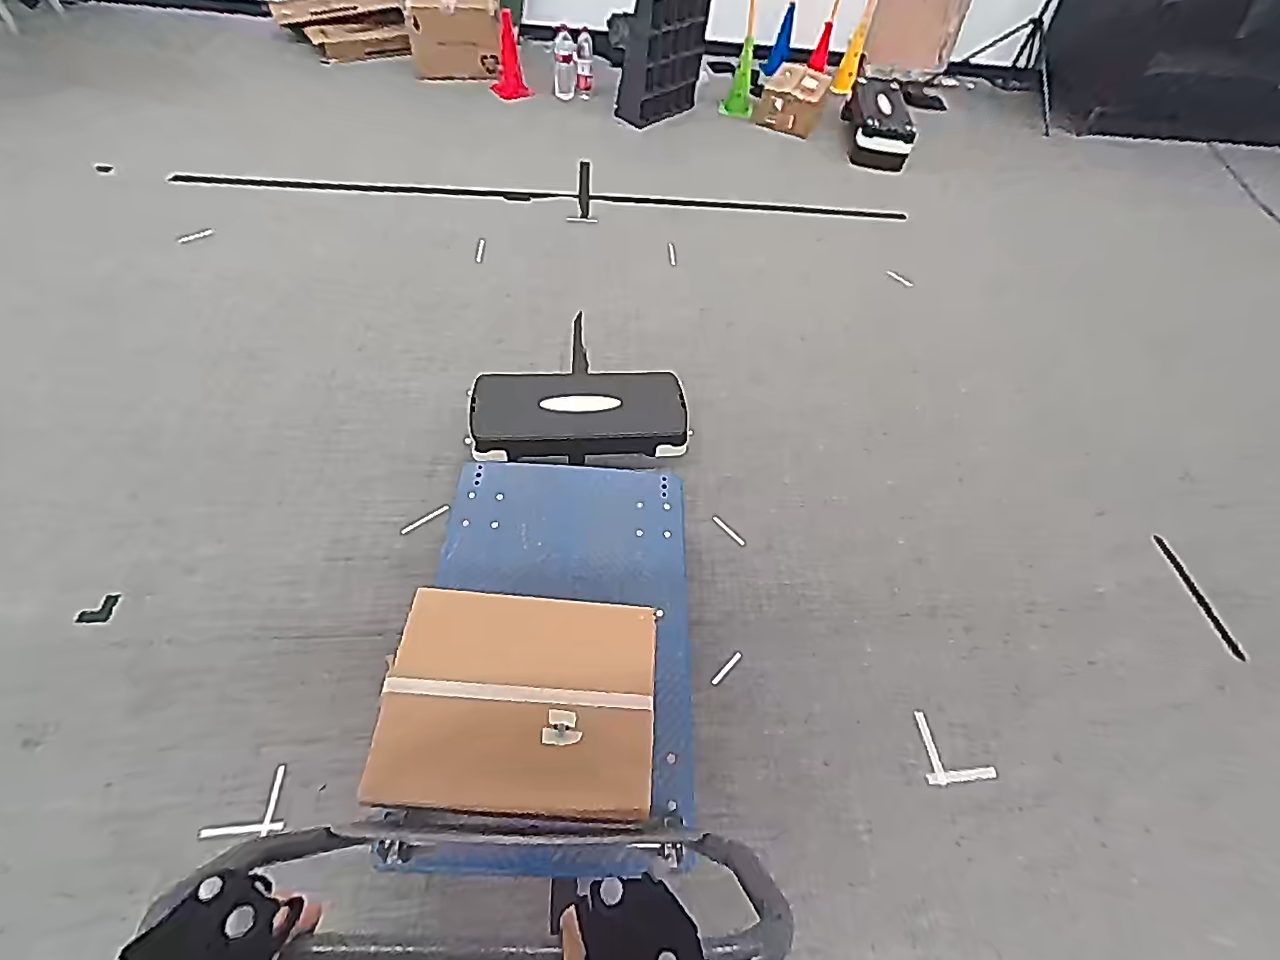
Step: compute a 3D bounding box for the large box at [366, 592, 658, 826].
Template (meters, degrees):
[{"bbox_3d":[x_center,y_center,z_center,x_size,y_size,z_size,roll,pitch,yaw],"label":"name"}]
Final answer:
[{"bbox_3d":[-0.191,0.414,0.951,0.408,0.320,0.320,6,56,-4],"label":"large box"}]
